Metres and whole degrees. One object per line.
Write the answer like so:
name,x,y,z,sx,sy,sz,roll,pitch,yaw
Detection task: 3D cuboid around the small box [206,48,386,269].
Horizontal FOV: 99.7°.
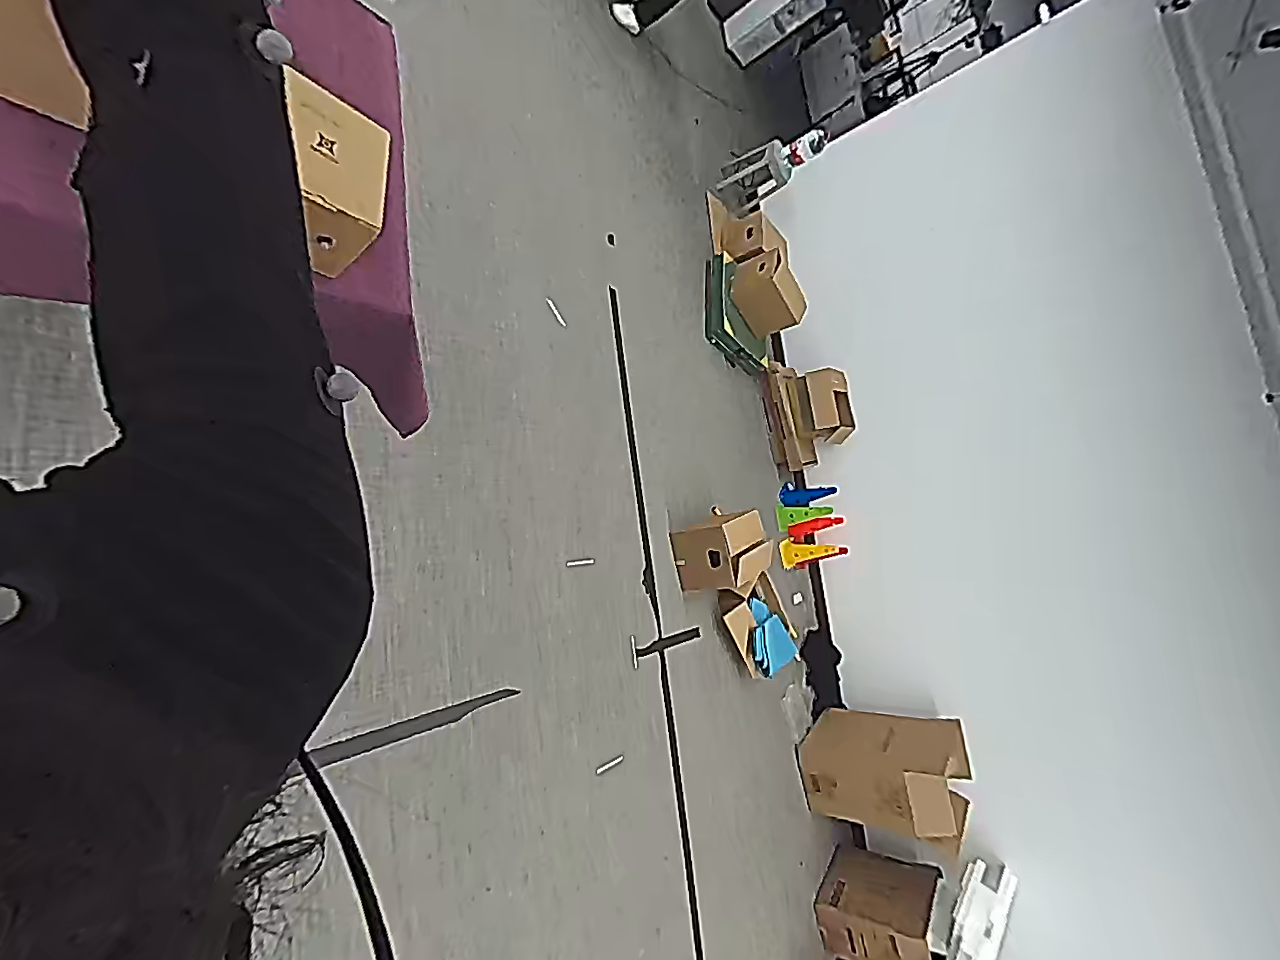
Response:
small box,-0.490,-0.438,0.772,0.168,0.176,0.179,15,67,-51
